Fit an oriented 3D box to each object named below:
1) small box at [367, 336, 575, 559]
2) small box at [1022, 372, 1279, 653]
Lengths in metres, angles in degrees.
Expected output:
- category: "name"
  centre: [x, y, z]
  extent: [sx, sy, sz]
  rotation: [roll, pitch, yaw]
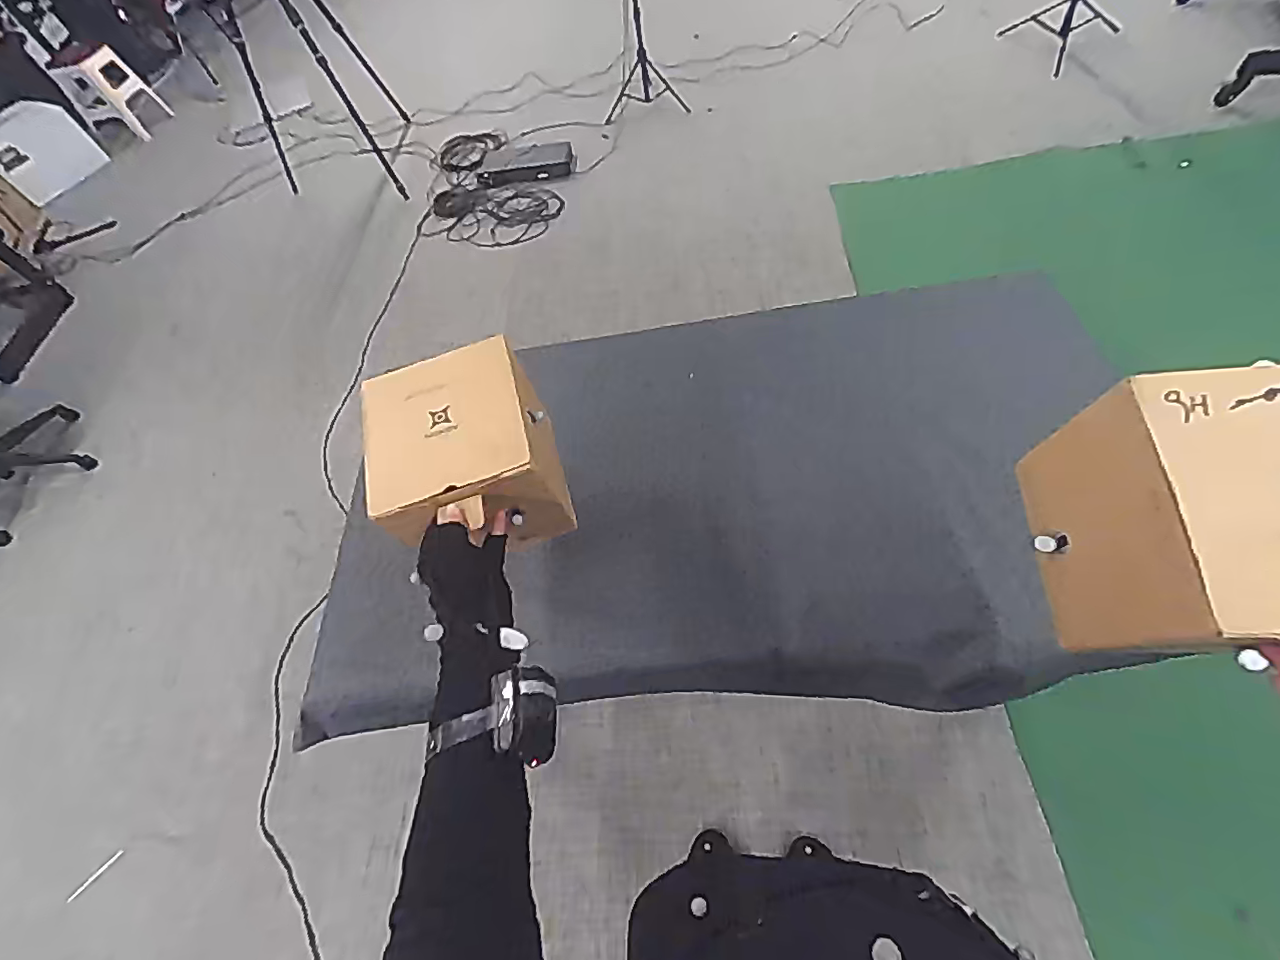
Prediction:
- category: "small box"
  centre: [-0.185, -0.025, 0.617]
  extent: [0.168, 0.176, 0.179]
  rotation: [-19, 60, -1]
- category: "small box"
  centre: [0.427, 0.036, 0.403]
  extent: [0.168, 0.176, 0.179]
  rotation: [-3, 70, 8]
